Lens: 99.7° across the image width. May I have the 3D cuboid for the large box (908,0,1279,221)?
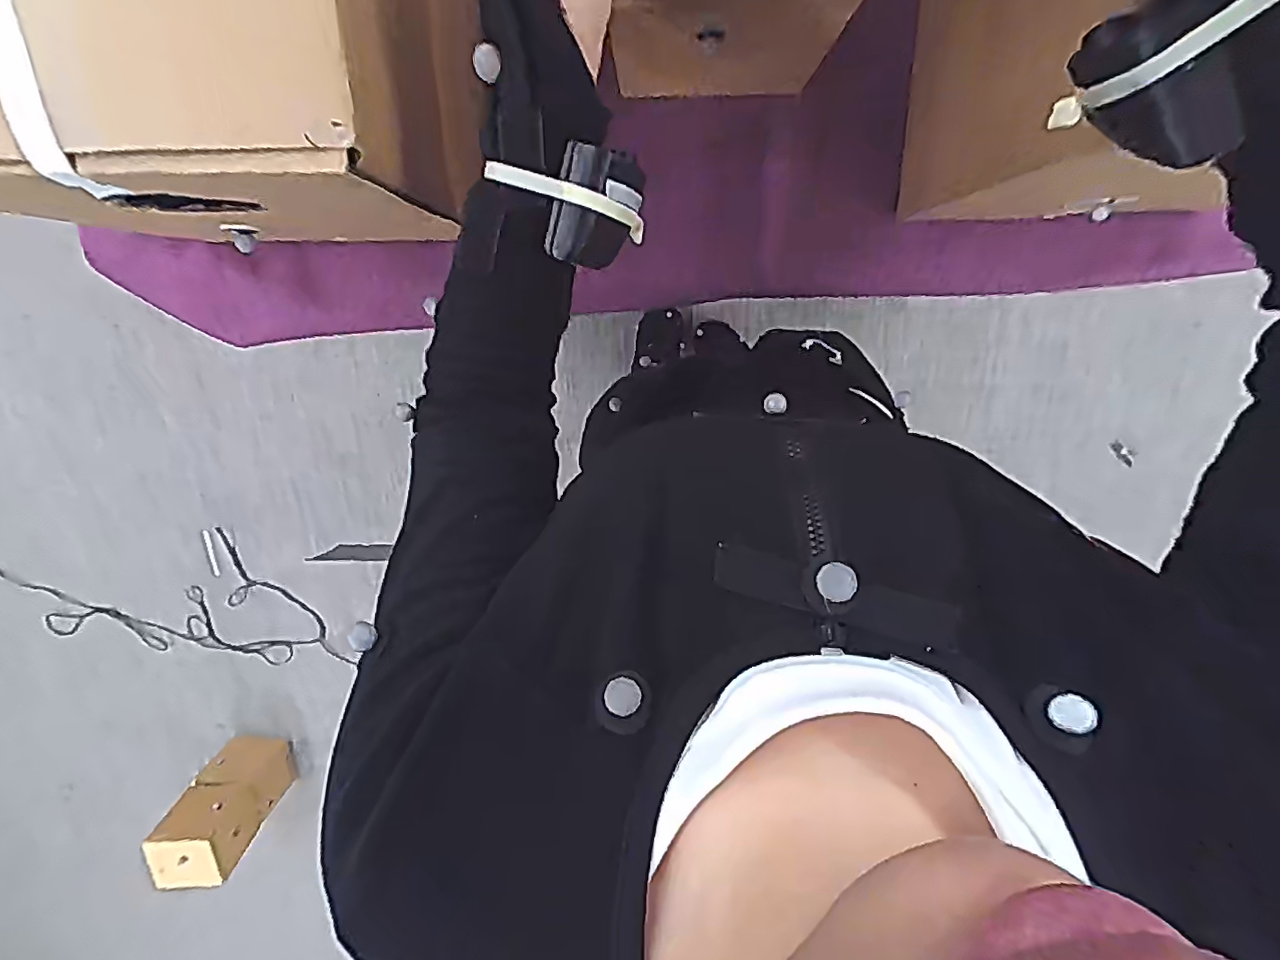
[{"bbox_3d":[0.400,-0.414,0.339,0.320,0.320,0.408,-2,106,1],"label":"large box"}]
